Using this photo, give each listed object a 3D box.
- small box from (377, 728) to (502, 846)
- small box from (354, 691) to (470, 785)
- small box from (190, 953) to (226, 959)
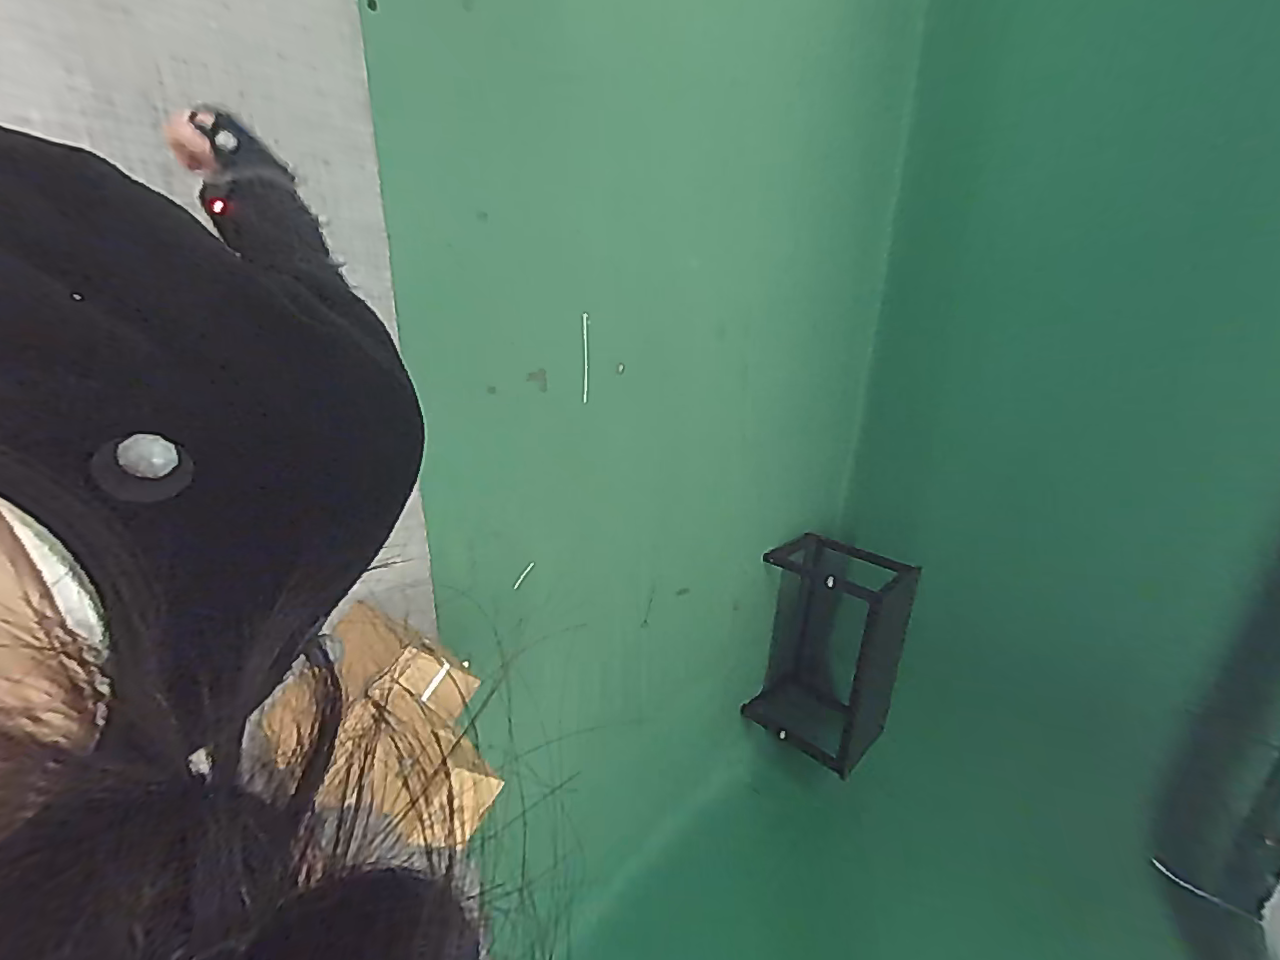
[{"bbox_3d":[-0.465,0.706,1.254,0.168,0.176,0.179,-55,137,-18],"label":"small box"},{"bbox_3d":[-0.576,0.666,1.365,0.168,0.176,0.179,-53,136,-20],"label":"small box"},{"bbox_3d":[-0.861,1.078,1.050,0.179,0.176,0.168,-48,133,-25],"label":"small box"}]
